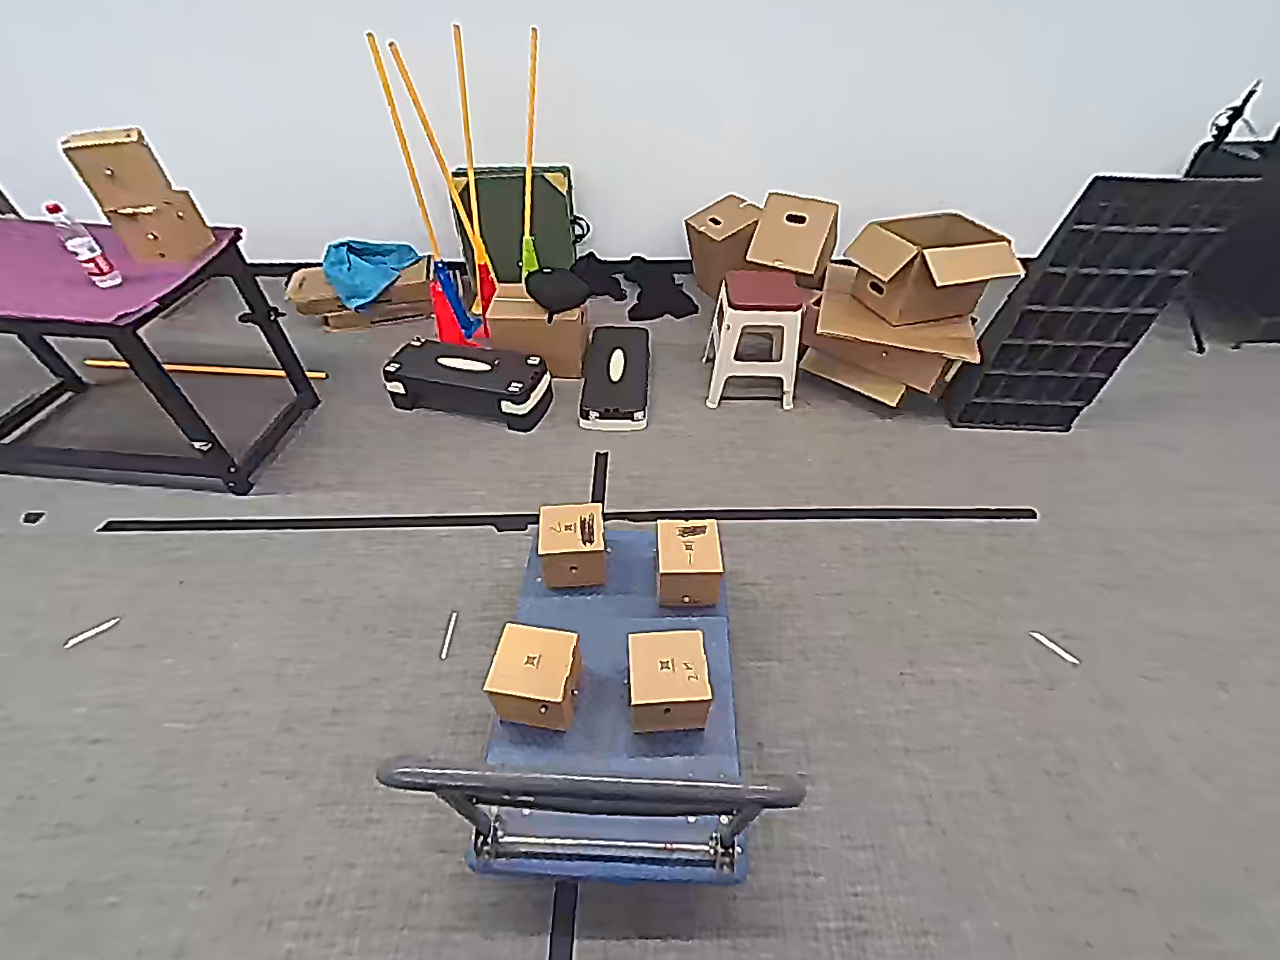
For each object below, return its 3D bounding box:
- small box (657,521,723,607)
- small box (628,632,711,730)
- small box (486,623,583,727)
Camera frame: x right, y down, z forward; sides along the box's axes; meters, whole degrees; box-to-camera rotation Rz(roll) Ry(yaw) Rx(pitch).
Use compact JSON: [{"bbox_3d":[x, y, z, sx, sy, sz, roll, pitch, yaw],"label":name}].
[{"bbox_3d":[0.132,0.233,1.499,0.168,0.176,0.179,0,48,0],"label":"small box"},{"bbox_3d":[0.064,0.474,1.270,0.179,0.176,0.168,-2,47,-2],"label":"small box"},{"bbox_3d":[-0.240,0.463,1.277,0.179,0.176,0.168,8,46,5],"label":"small box"}]
